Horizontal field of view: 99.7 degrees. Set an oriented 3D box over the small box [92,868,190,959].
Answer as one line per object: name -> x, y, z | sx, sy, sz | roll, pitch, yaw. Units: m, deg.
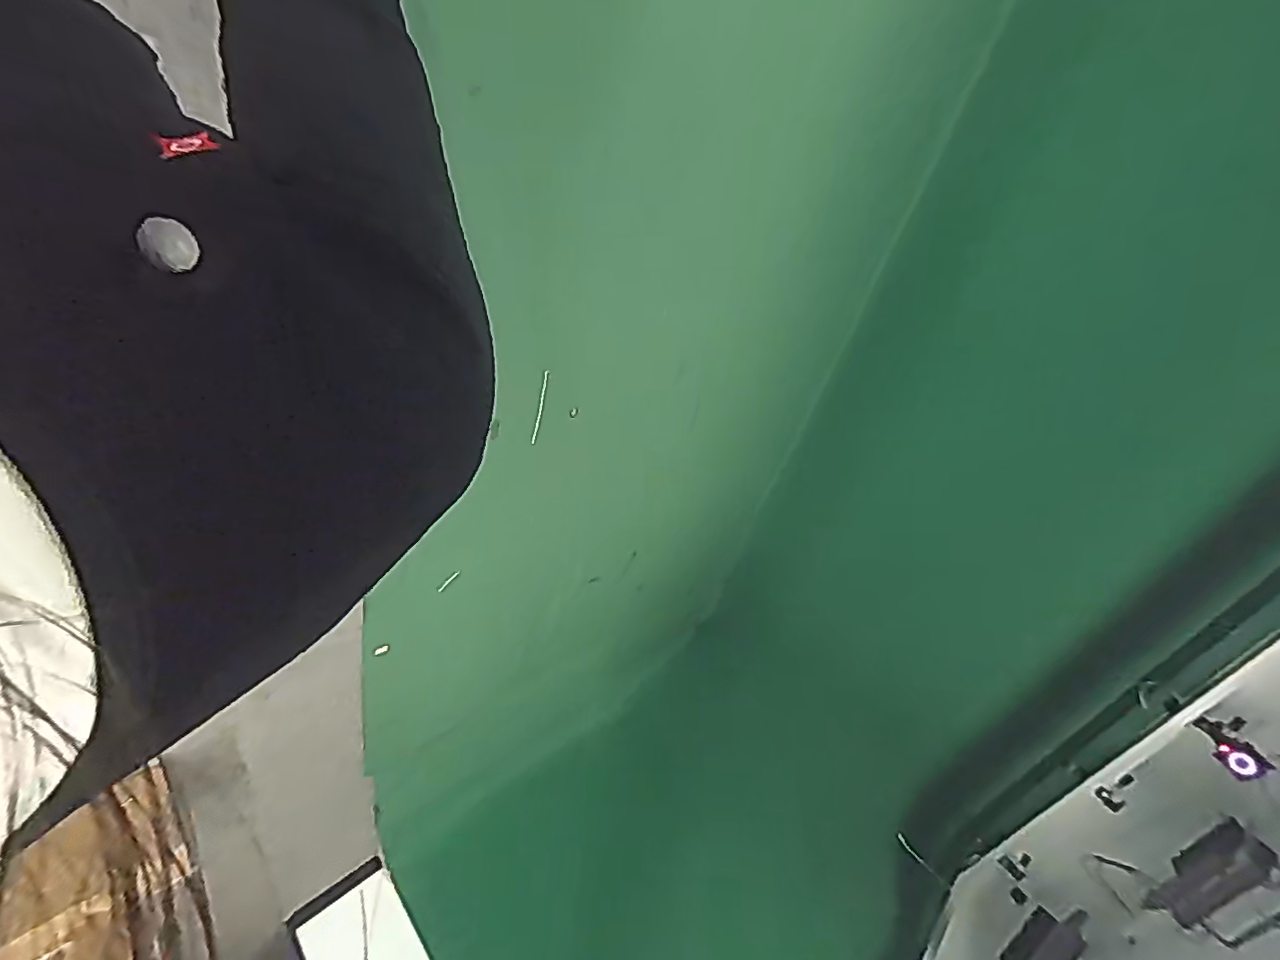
small box -> -1.445, 1.286, 1.563 | 0.179, 0.176, 0.168 | -19, 132, -41
